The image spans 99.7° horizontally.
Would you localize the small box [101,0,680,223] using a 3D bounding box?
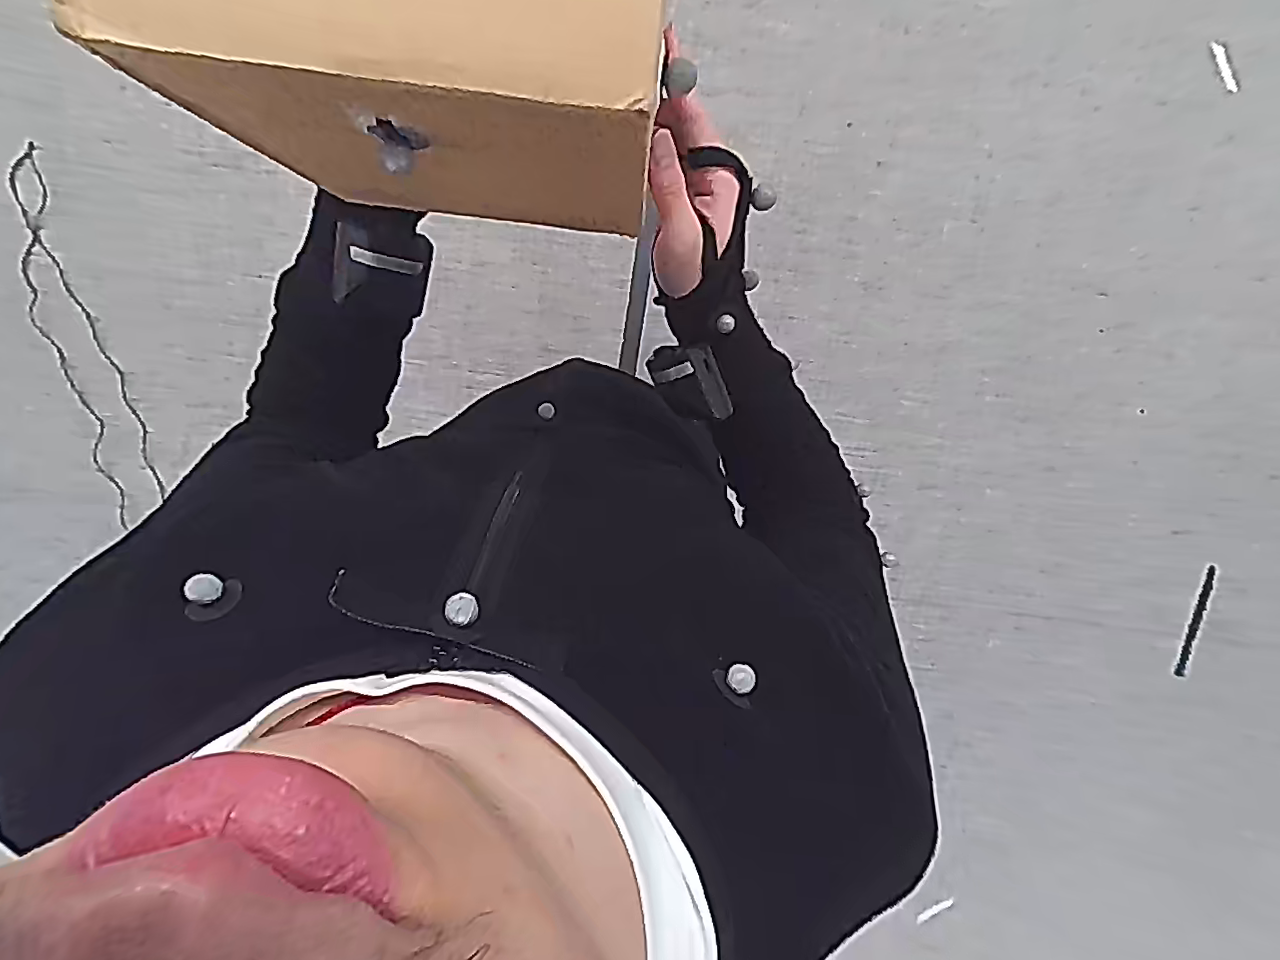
[{"bbox_3d":[-0.070,-0.222,0.230,0.179,0.176,0.168,5,103,-3],"label":"small box"}]
